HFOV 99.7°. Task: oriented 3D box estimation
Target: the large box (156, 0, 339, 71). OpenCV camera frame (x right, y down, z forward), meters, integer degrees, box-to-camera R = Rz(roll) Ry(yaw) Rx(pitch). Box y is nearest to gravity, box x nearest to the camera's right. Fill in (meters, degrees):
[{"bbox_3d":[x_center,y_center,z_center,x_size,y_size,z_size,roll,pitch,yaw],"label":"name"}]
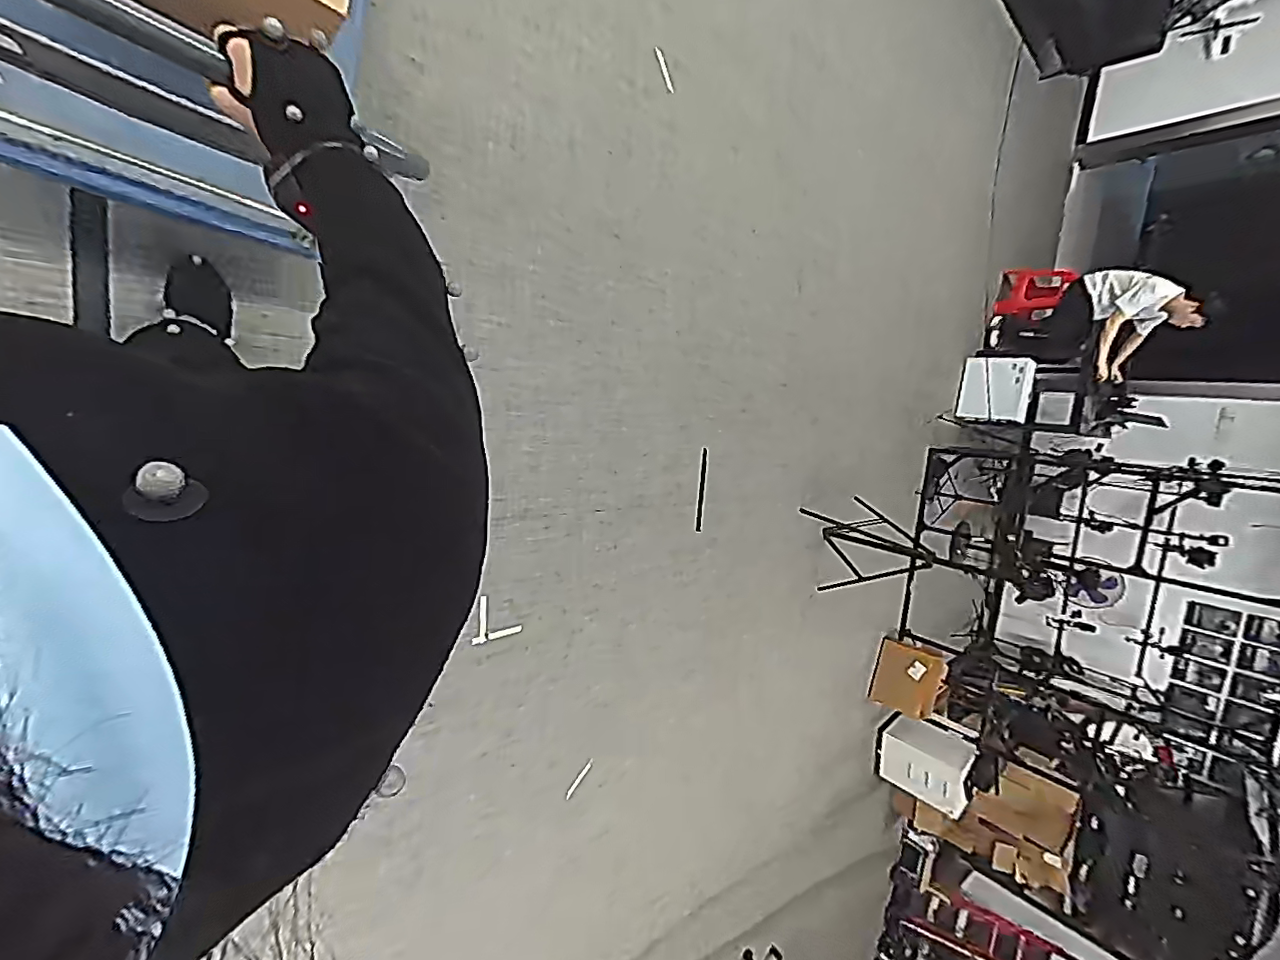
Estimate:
[{"bbox_3d":[-0.683,-0.930,0.807,0.408,0.320,0.320,8,94,-43],"label":"large box"}]
